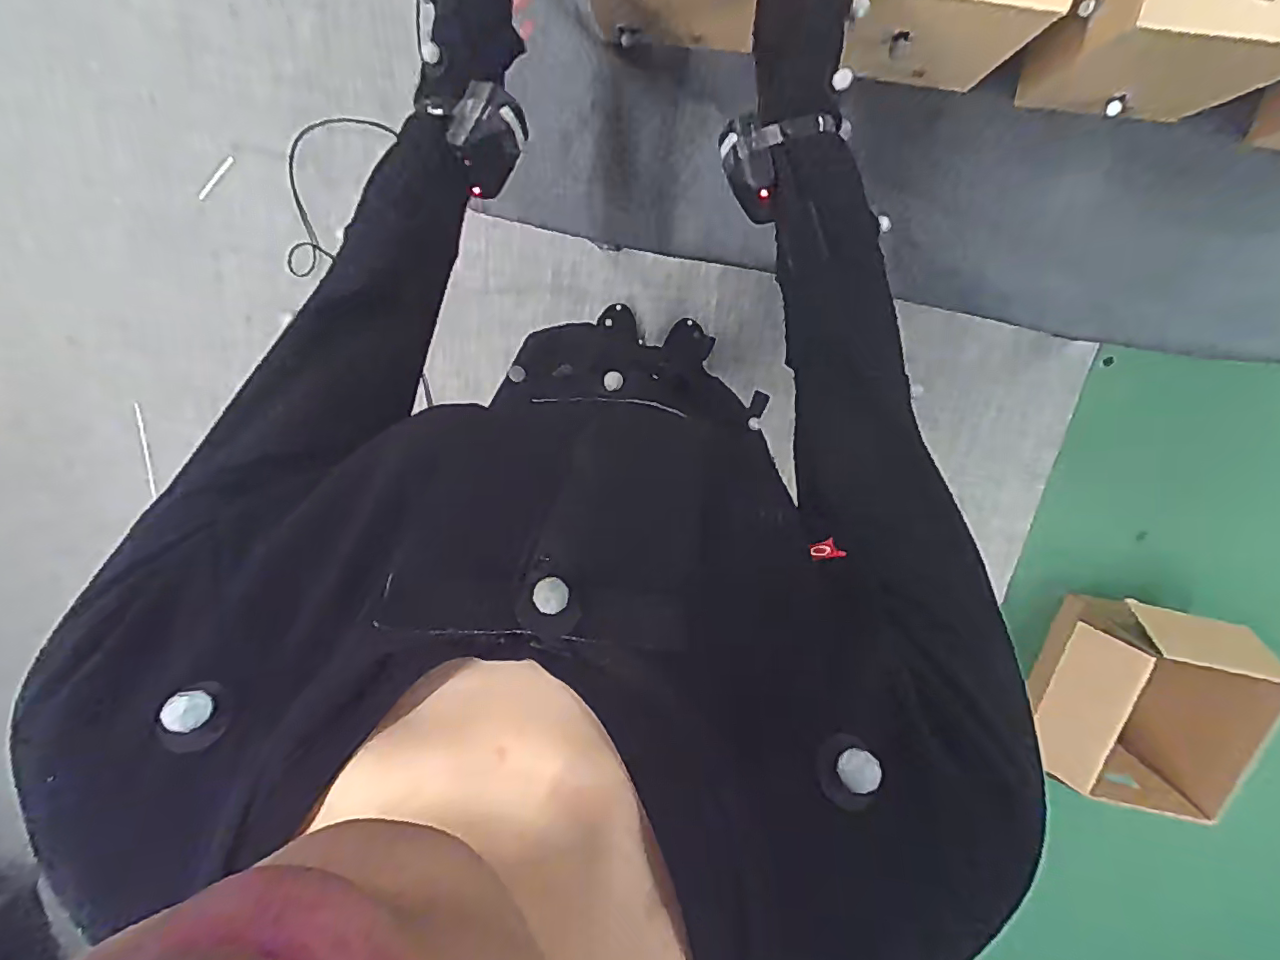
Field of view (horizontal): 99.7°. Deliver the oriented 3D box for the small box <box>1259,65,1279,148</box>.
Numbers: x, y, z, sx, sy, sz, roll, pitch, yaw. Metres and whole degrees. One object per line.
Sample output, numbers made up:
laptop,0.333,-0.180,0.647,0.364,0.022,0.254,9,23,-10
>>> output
small box,0.716,-0.398,0.459,0.168,0.176,0.179,10,107,3
